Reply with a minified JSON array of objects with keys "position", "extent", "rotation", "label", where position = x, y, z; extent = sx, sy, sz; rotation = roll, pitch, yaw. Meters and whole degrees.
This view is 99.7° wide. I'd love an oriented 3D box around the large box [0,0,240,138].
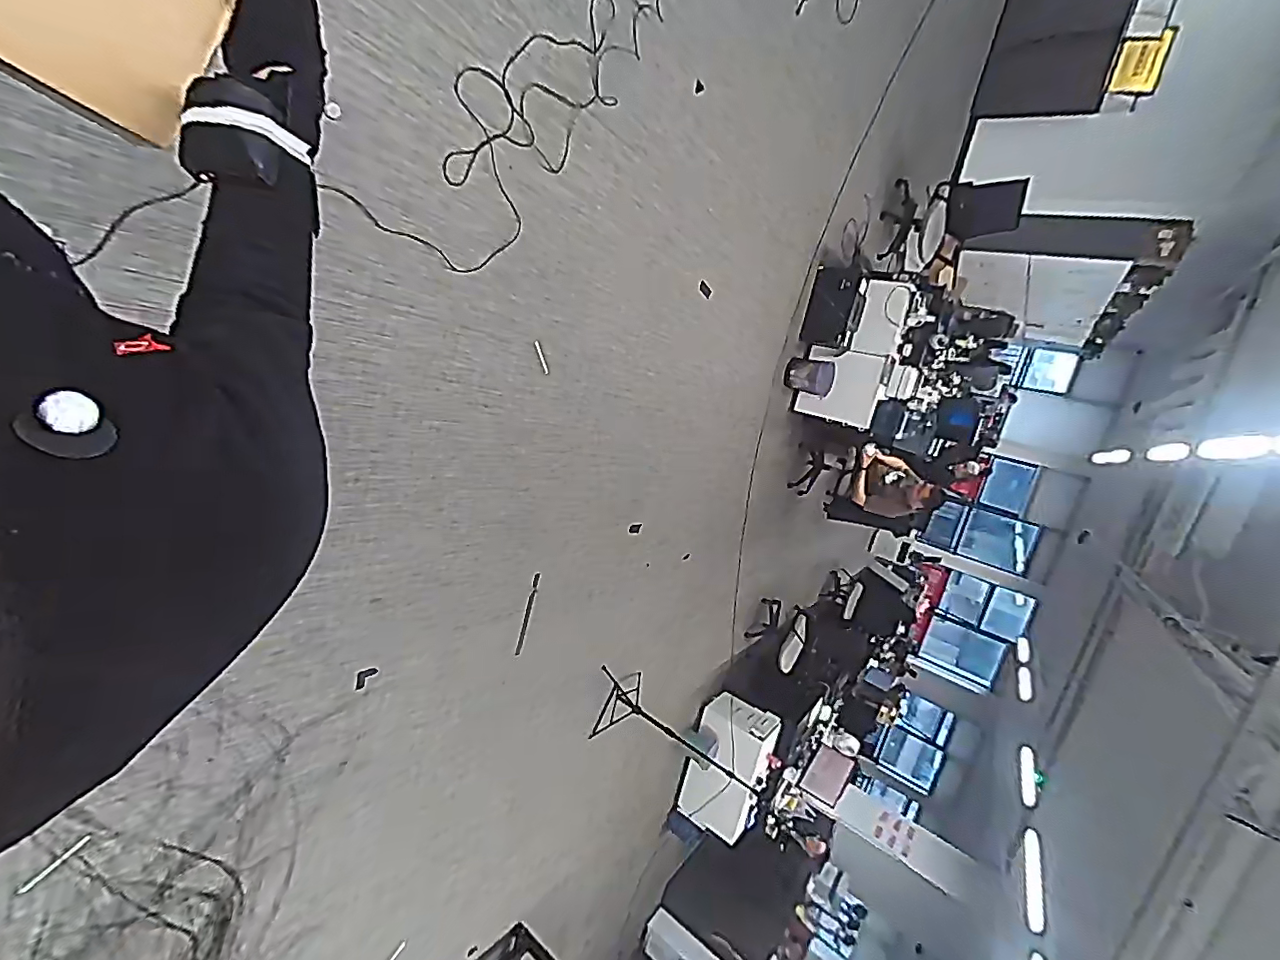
[{"position":[-0.509,-0.502,0.347],"extent":[0.408,0.320,0.320],"rotation":[21,100,-52],"label":"large box"}]
